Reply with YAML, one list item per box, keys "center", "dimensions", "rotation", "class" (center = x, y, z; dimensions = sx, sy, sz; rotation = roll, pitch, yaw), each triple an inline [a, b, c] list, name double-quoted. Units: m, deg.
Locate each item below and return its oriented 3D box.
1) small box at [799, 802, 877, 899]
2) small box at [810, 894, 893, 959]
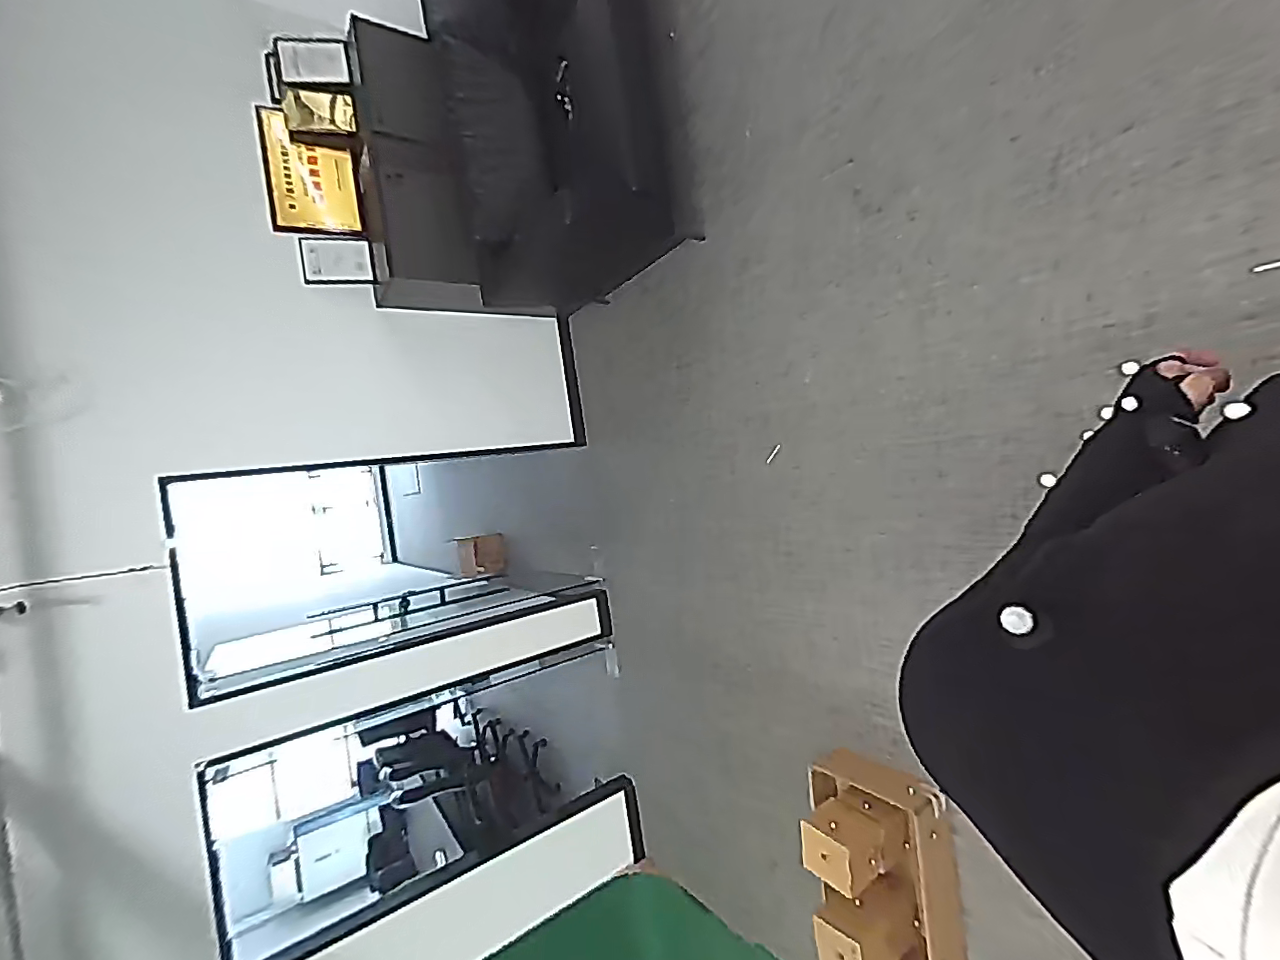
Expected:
- center: [0.635, 1.175, 1.735]
  dimensions: [0.179, 0.176, 0.168]
  rotation: [1, 97, 53]
  class: "small box"
- center: [0.678, 1.472, 1.730]
  dimensions: [0.179, 0.176, 0.168]
  rotation: [-10, 89, 55]
  class: "small box"
